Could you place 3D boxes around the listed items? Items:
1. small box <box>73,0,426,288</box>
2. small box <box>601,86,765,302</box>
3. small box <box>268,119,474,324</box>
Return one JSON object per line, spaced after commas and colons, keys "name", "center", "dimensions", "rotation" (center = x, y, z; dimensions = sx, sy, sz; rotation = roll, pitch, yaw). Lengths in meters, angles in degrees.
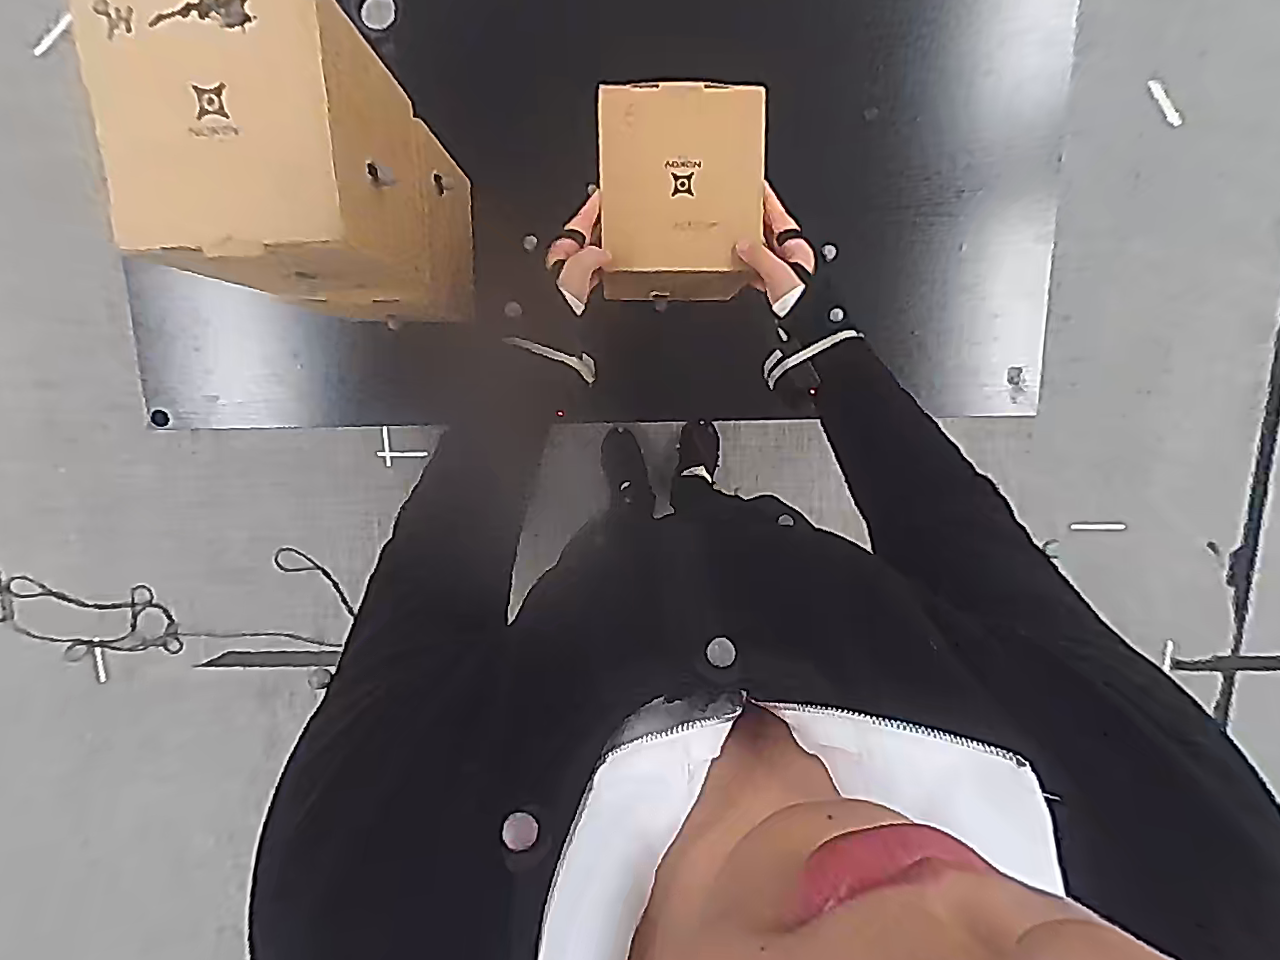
{"name": "small box", "center": [-0.295, -0.263, 0.454], "dimensions": [0.168, 0.176, 0.179], "rotation": [-2, 100, -1]}
{"name": "small box", "center": [0.040, -0.309, 0.618], "dimensions": [0.168, 0.176, 0.179], "rotation": [-2, 99, -1]}
{"name": "small box", "center": [-0.295, -0.281, 0.617], "dimensions": [0.168, 0.176, 0.179], "rotation": [0, 100, -1]}
